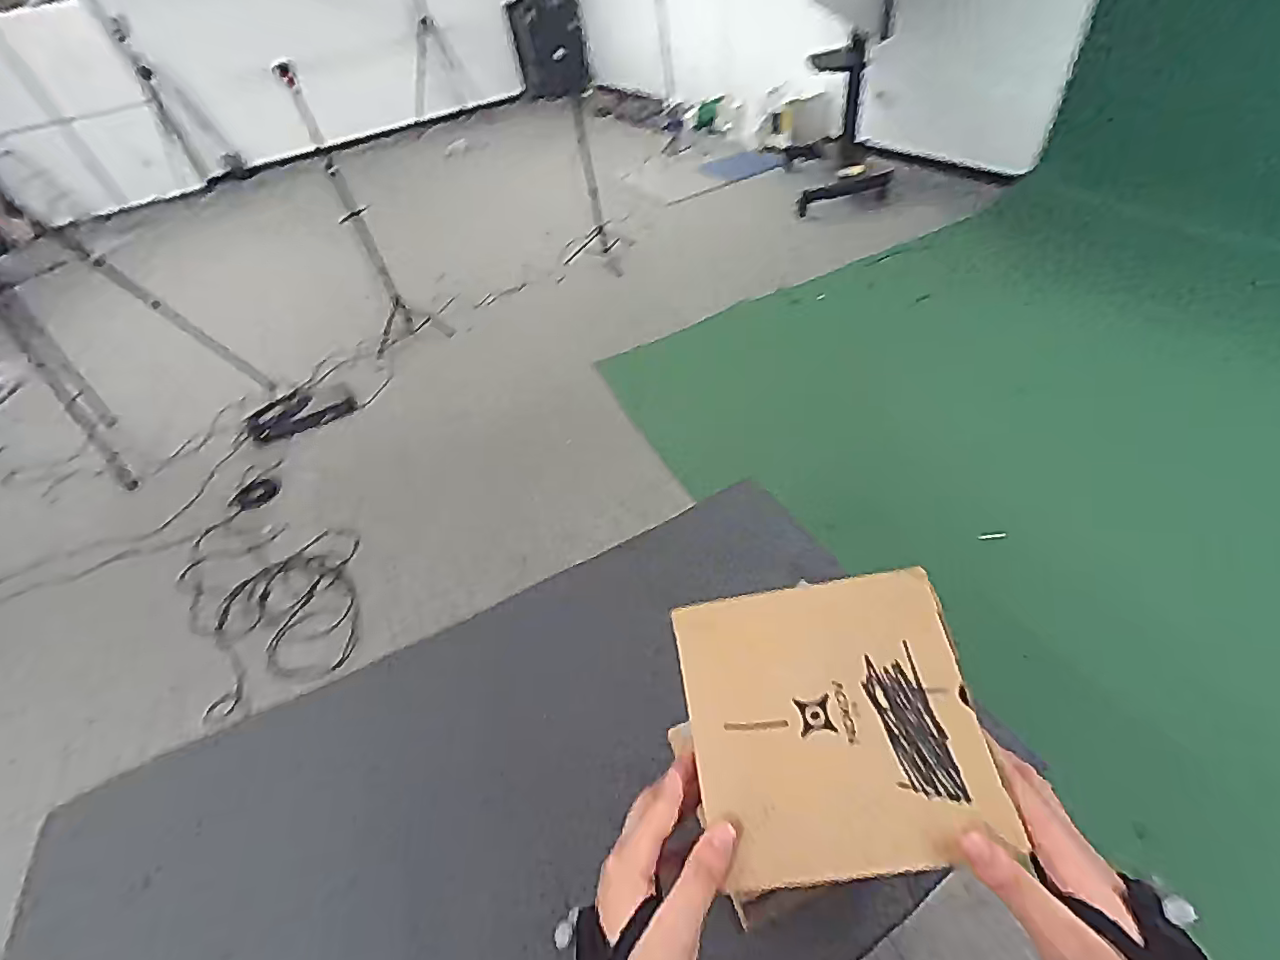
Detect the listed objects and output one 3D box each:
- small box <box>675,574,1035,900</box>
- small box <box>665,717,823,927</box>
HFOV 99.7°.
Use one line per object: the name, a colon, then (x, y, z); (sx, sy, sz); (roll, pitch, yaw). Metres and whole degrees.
small box: (0.128, 0.180, 0.397); (0.179, 0.176, 0.168); (-10, 63, 6)
small box: (0.144, 0.342, 0.586); (0.179, 0.176, 0.168); (-22, 44, -9)
